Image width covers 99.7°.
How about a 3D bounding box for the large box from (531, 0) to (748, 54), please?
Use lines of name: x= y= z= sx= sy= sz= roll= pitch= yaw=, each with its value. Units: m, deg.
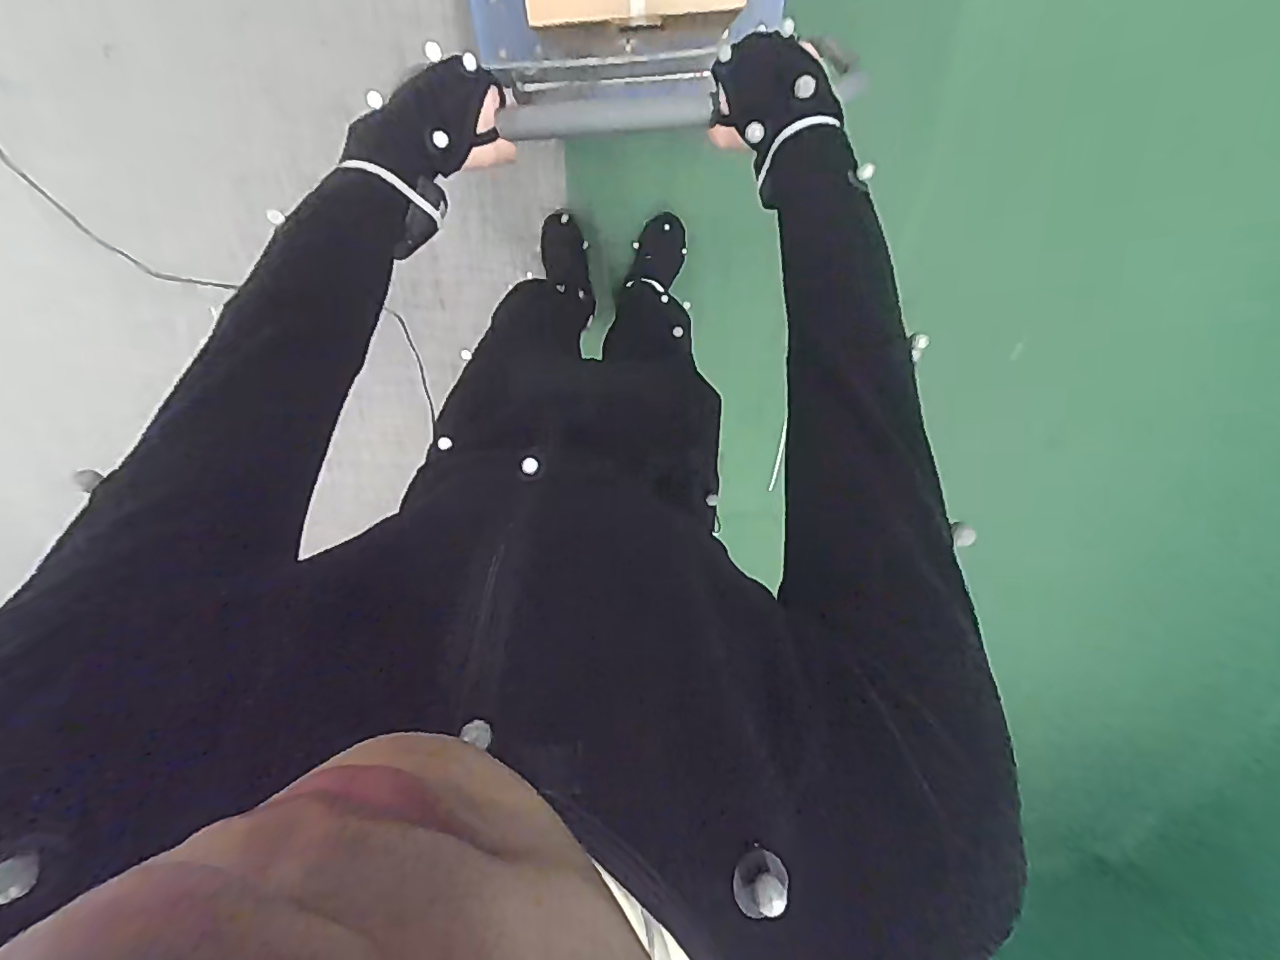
large box: x=-0.008 y=-0.905 z=0.789 sx=0.320 sy=0.320 sz=0.408 roll=-3 pitch=122 yaw=2
